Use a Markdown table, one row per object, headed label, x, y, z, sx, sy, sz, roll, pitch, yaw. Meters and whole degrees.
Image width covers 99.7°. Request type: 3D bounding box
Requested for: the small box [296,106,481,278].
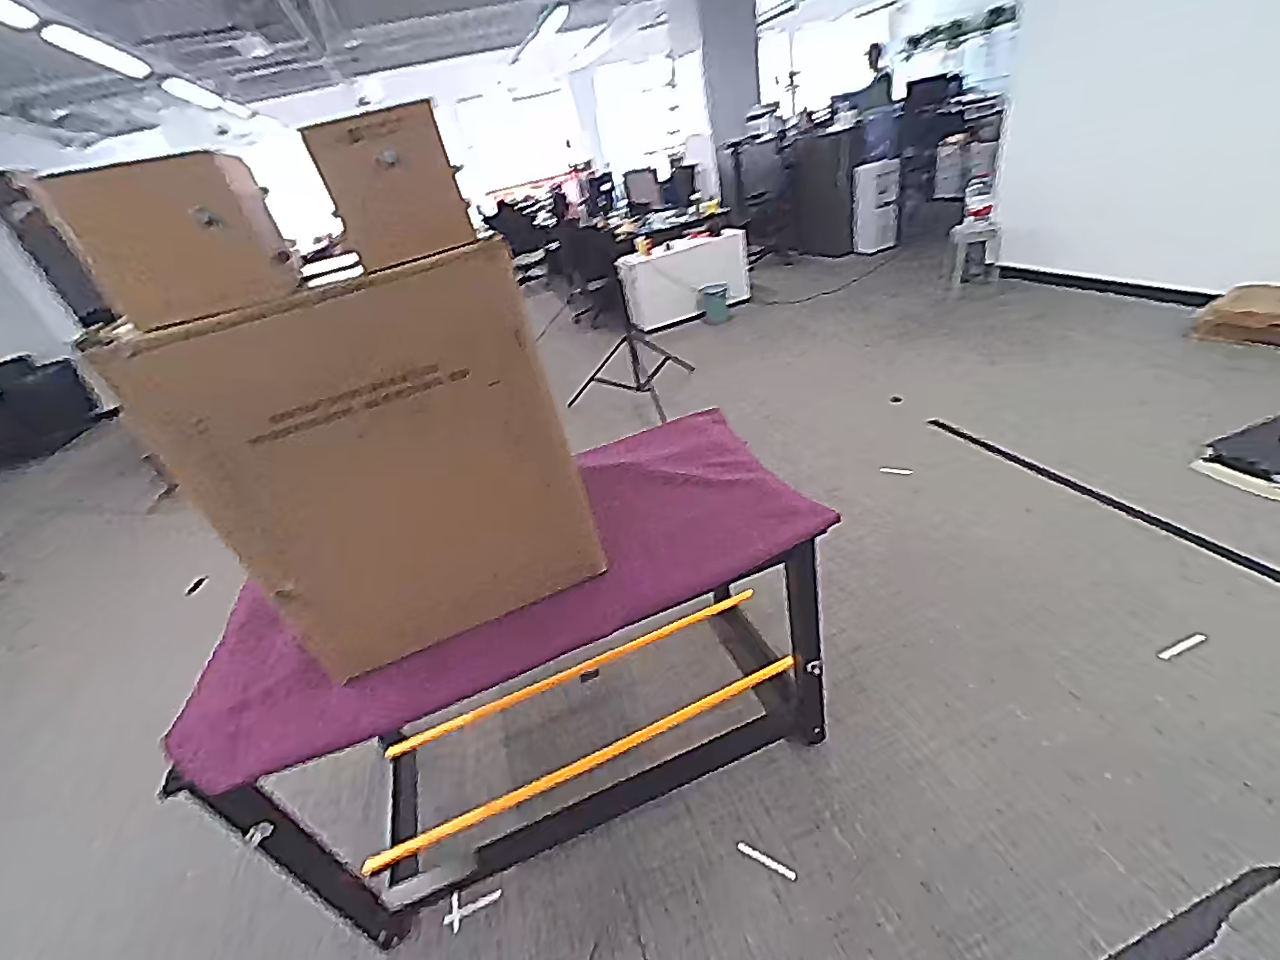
| label | x | y | z | sx | sy | sz | roll | pitch | yaw |
| --- | --- | --- | --- | --- | --- | --- | --- | --- | --- |
| small box | -0.341 | -0.398 | 0.749 | 0.168 | 0.176 | 0.179 | -23 | 33 | -12 |
